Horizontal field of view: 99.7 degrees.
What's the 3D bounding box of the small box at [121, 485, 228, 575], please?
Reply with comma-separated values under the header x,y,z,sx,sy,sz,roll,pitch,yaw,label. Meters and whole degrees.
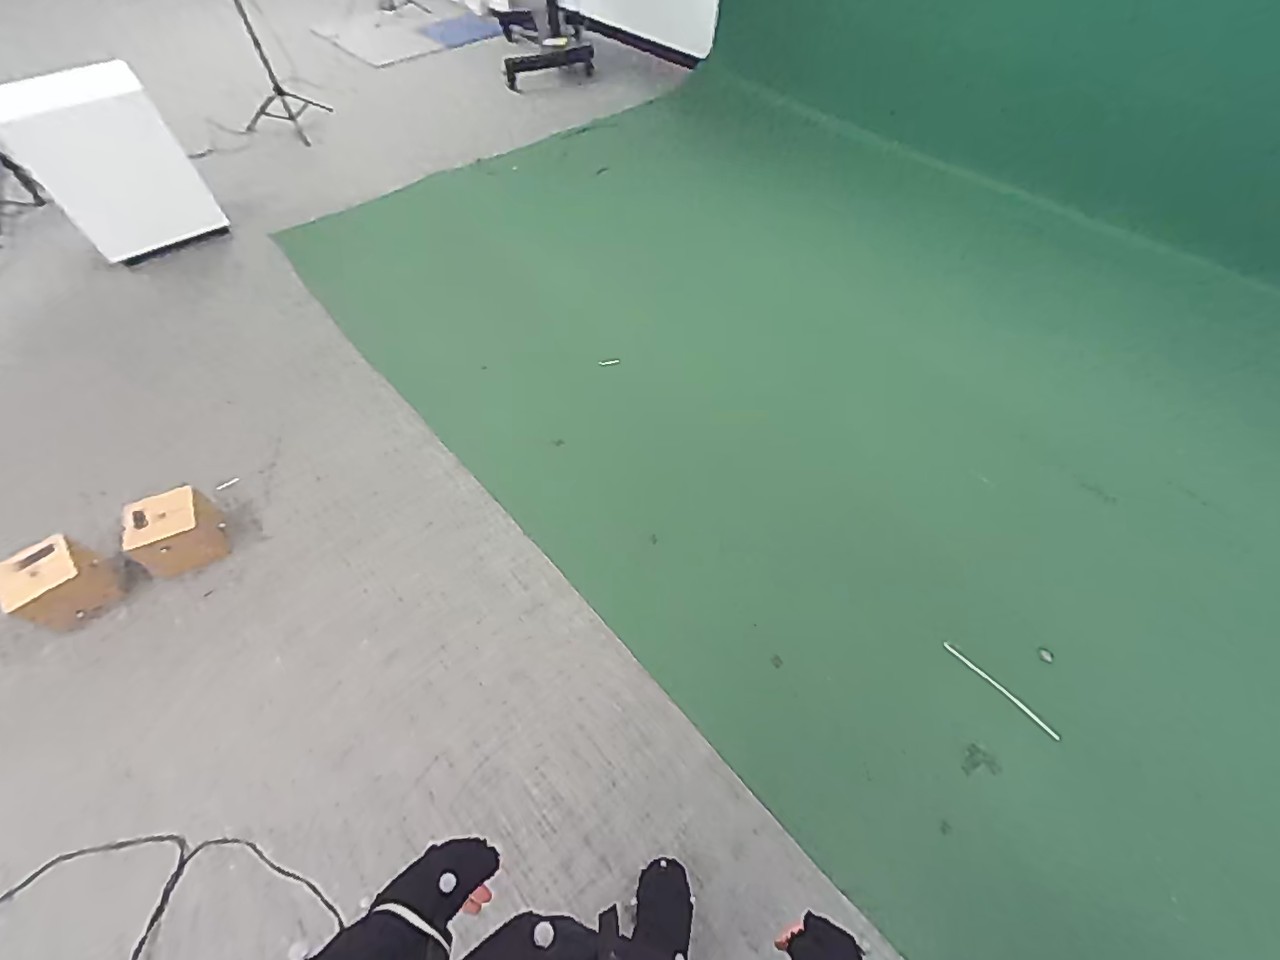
x,y,z,sx,sy,sz,roll,pitch,yaw,label
-1.347,0.150,1.572,0.179,0.176,0.168,-22,58,-17,small box
